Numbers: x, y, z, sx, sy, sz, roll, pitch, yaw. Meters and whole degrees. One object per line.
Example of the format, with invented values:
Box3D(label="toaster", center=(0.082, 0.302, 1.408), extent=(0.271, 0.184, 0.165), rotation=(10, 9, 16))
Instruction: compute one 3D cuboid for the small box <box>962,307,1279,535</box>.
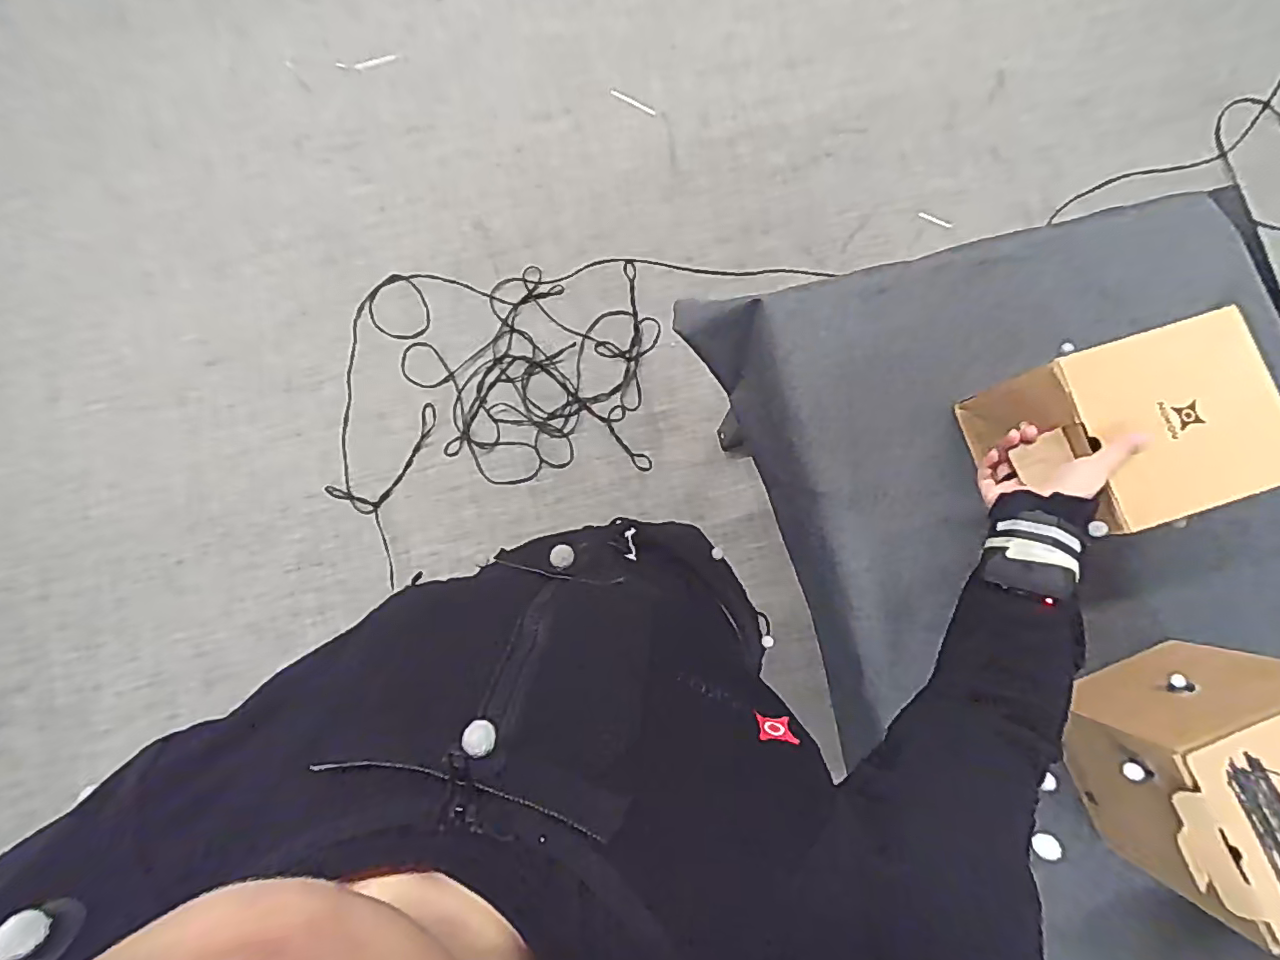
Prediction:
Box3D(label="small box", center=(0.481, -0.048, 0.553), extent=(0.179, 0.176, 0.168), rotation=(-17, 84, -1))
